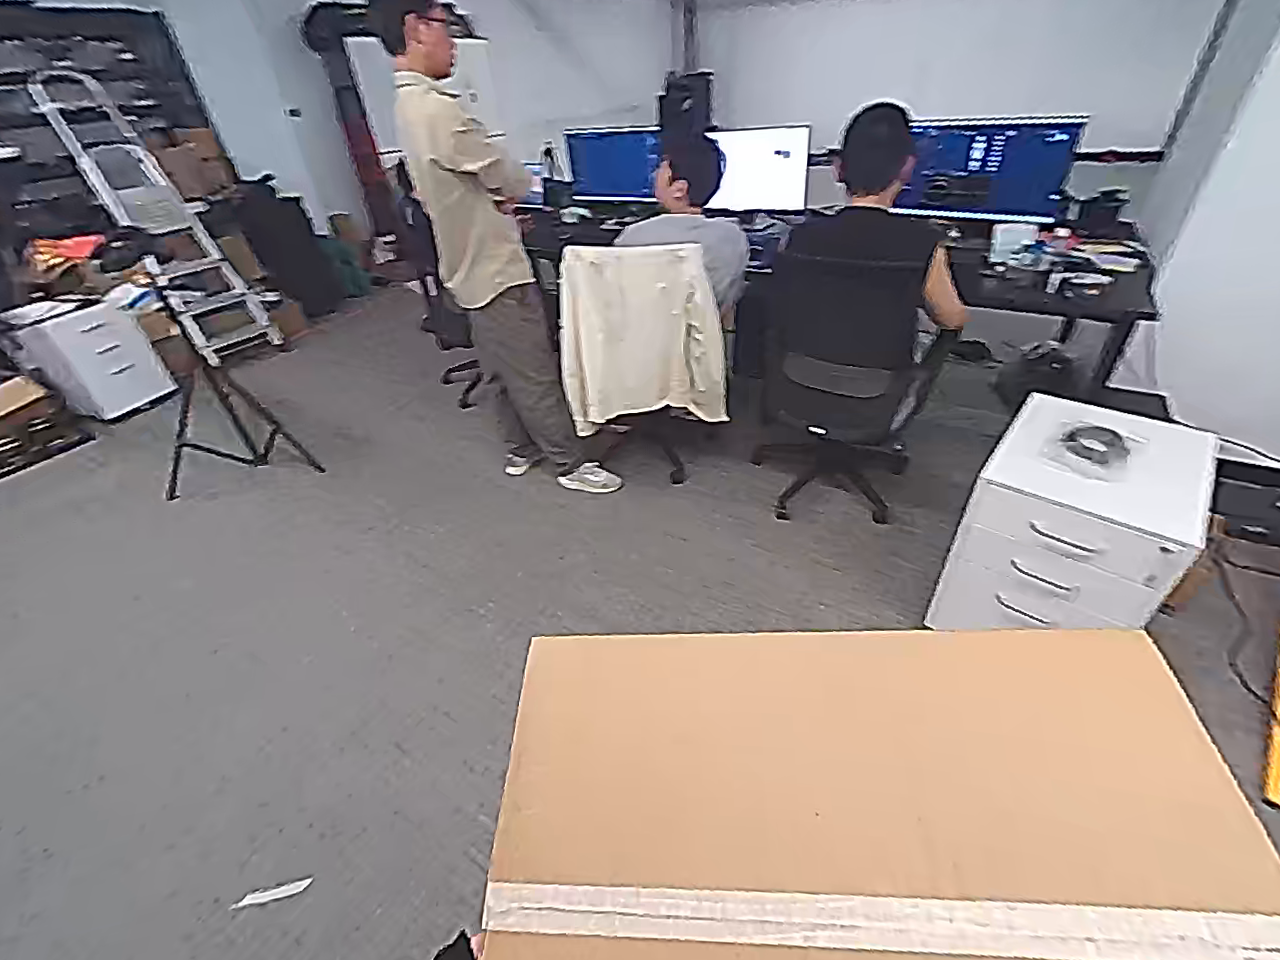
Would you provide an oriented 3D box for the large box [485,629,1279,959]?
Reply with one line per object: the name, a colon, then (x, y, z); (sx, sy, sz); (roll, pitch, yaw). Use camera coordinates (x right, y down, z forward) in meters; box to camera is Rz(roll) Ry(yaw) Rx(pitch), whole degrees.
large box: (0.130, 0.326, 0.398); (0.408, 0.320, 0.320); (-4, 51, 7)
